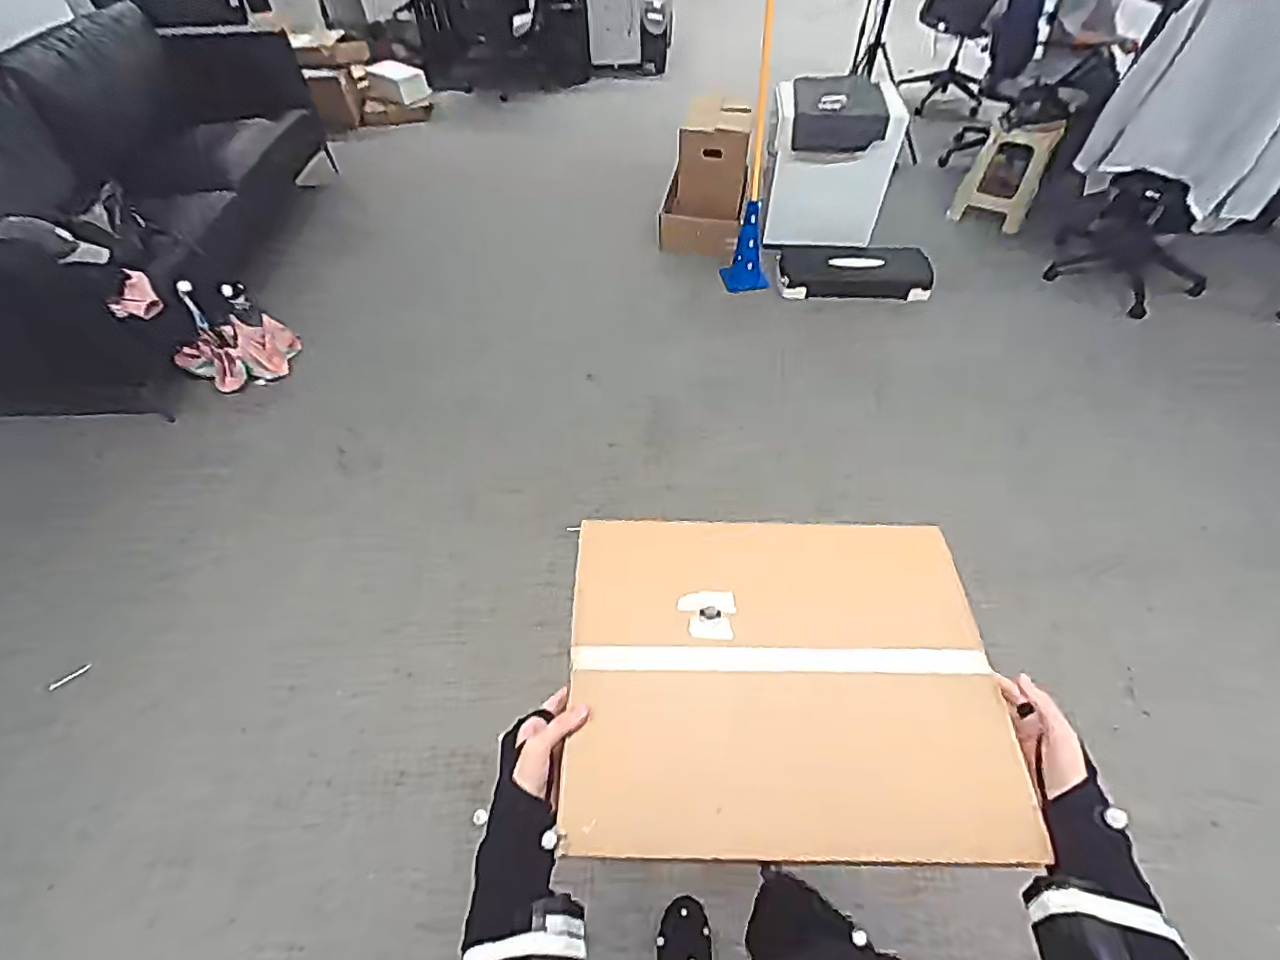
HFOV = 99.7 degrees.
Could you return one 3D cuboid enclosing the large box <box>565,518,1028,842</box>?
[{"bbox_3d":[0.137,0.254,0.664,0.408,0.320,0.320,1,55,1],"label":"large box"}]
